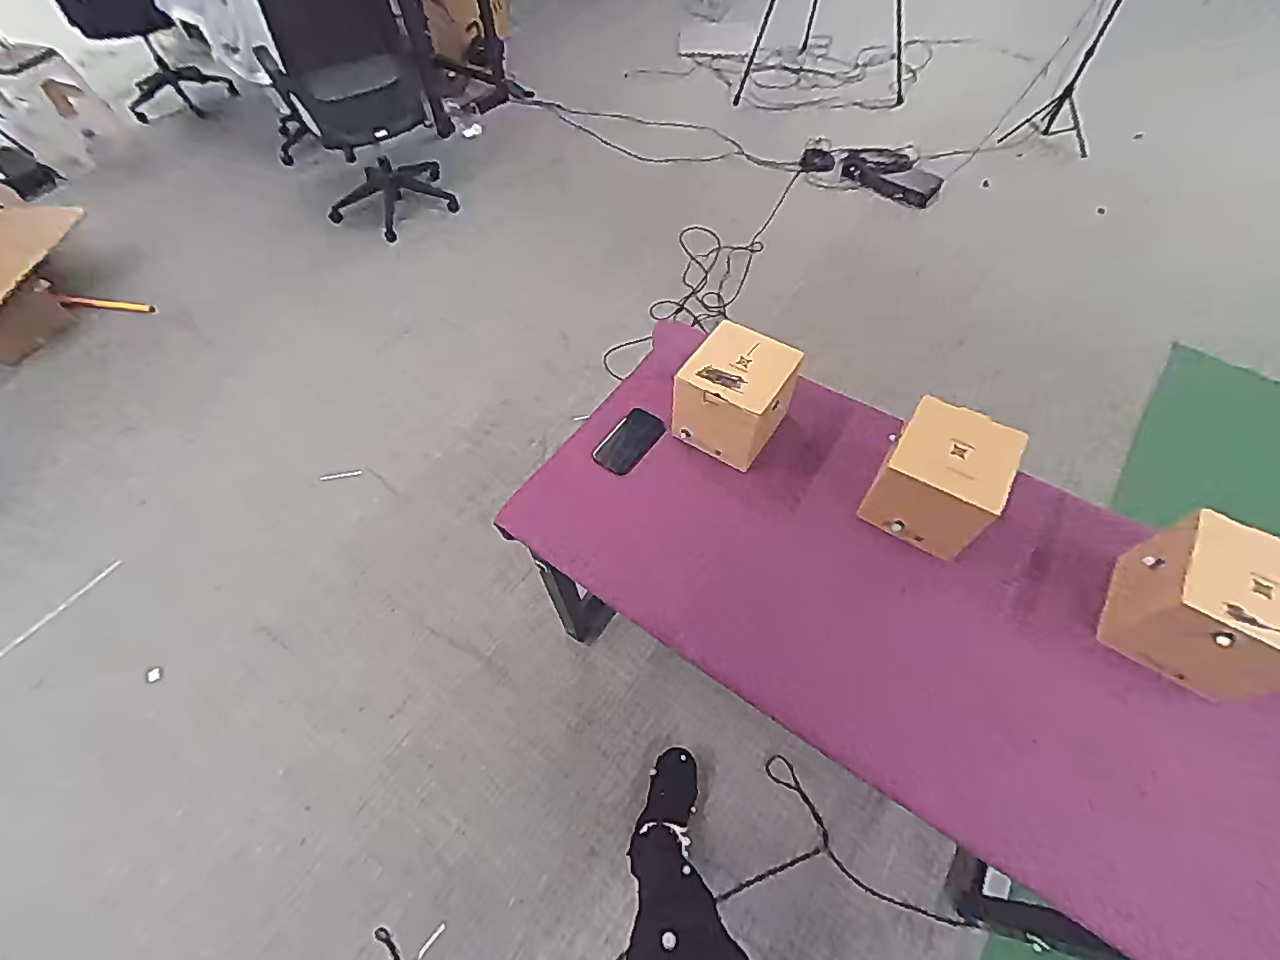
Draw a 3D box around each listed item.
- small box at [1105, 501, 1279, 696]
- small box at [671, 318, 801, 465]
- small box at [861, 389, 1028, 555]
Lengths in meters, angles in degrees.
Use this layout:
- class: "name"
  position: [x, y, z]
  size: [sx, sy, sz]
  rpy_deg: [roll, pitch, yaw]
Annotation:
- class: "small box"
  position: [0.808, 0.169, 0.760]
  size: [0.168, 0.176, 0.179]
  rpy_deg: [30, 63, 21]
- class: "small box"
  position: [0.172, -0.158, 0.998]
  size: [0.168, 0.176, 0.179]
  rpy_deg: [29, 62, 19]
- class: "small box"
  position: [0.489, -0.010, 0.891]
  size: [0.168, 0.176, 0.179]
  rpy_deg: [28, 63, 20]
